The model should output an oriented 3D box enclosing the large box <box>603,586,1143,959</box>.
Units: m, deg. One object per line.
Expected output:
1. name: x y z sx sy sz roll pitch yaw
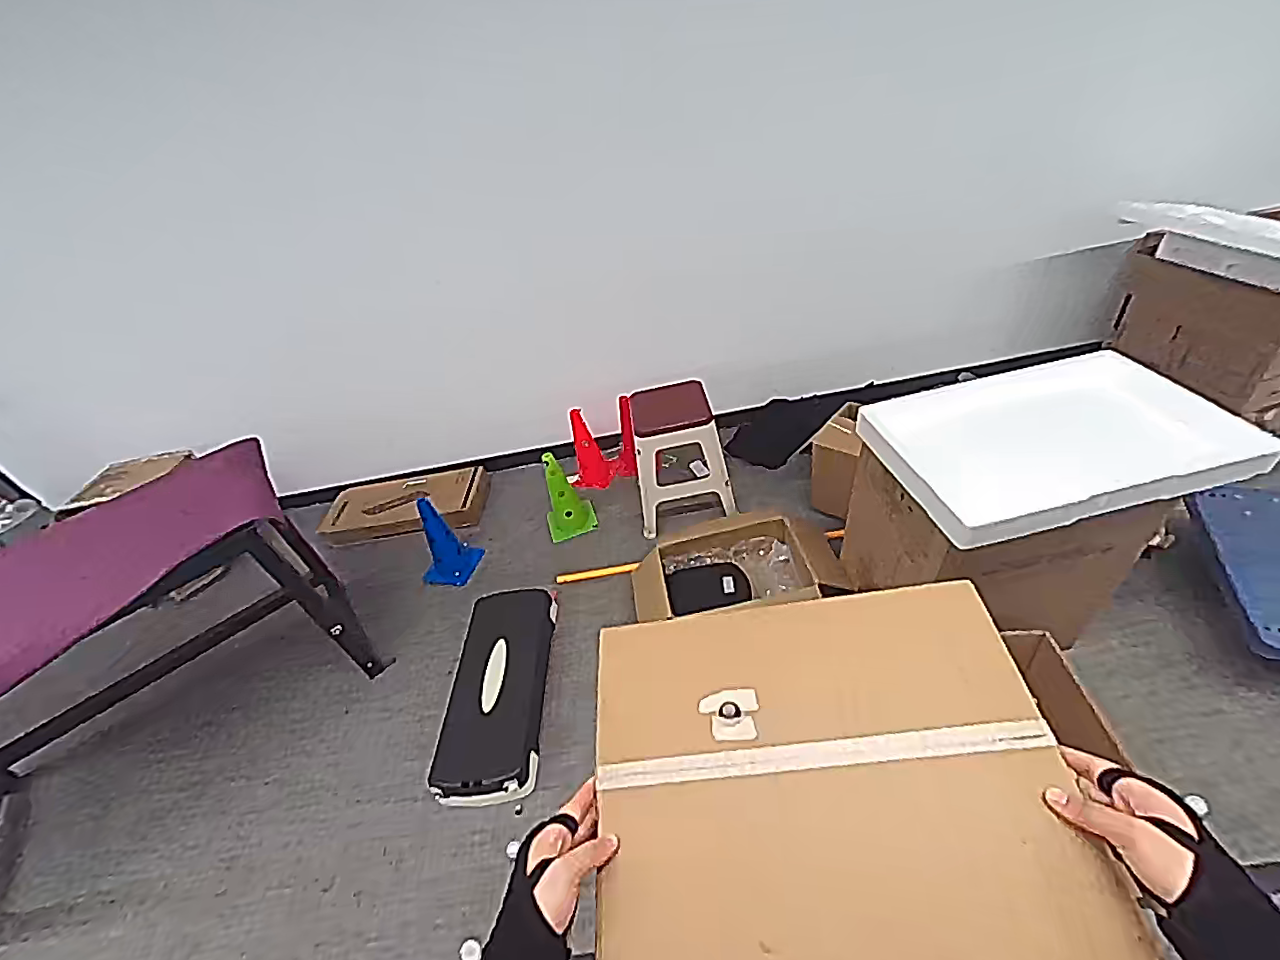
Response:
1. large box: 0.193 0.360 0.613 0.408 0.320 0.320 -11 46 8
